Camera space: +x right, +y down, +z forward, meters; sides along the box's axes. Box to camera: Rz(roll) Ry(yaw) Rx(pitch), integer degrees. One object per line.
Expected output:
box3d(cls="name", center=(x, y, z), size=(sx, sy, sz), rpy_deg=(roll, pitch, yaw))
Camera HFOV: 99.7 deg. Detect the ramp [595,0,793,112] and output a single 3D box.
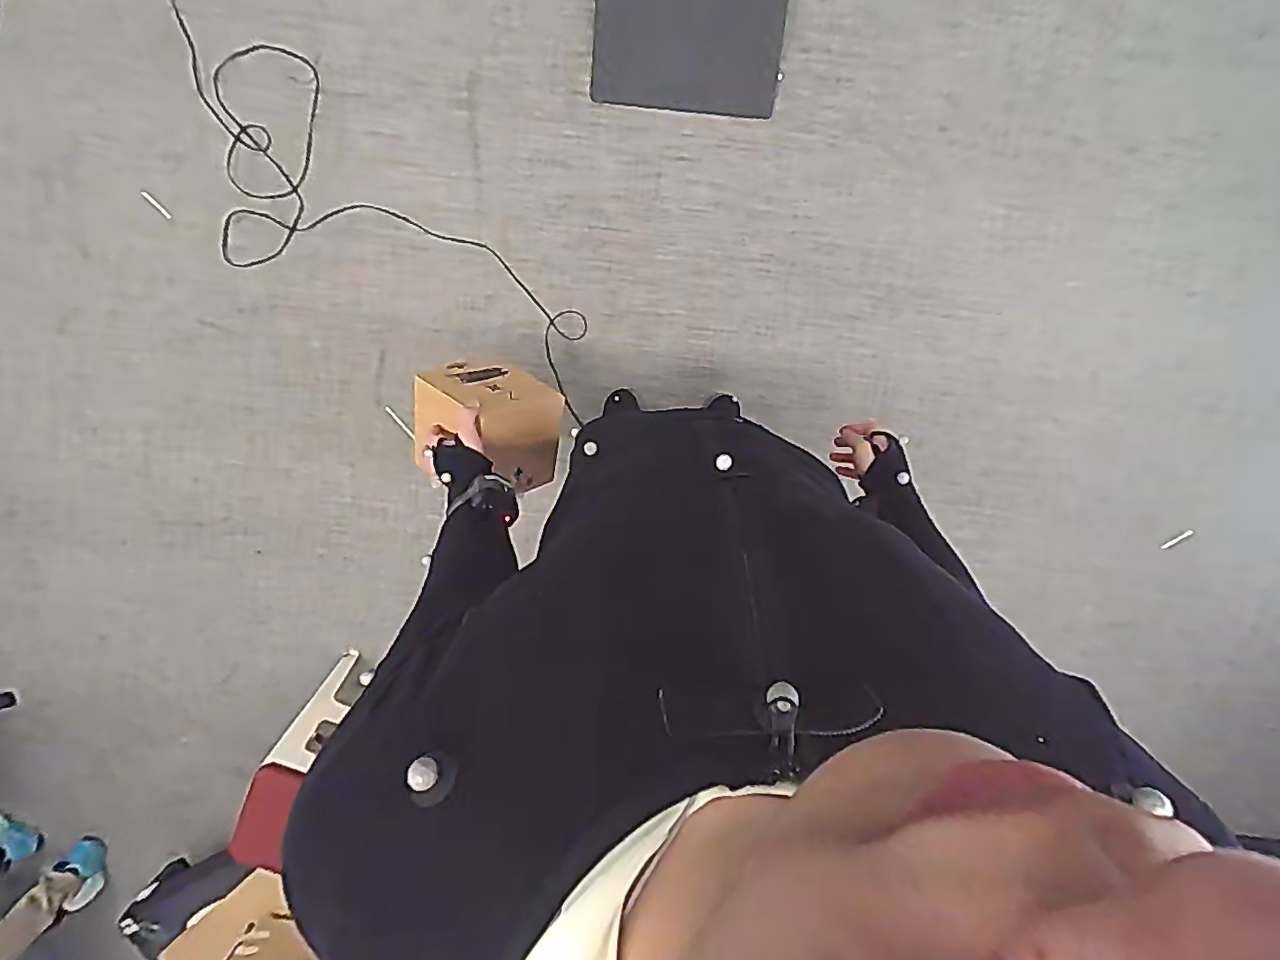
box3d(cls="ramp", center=(0.166, -1.461, 1.257), size=(0.509, 0.206, 0.991), rpy_deg=(3, 101, -1))
